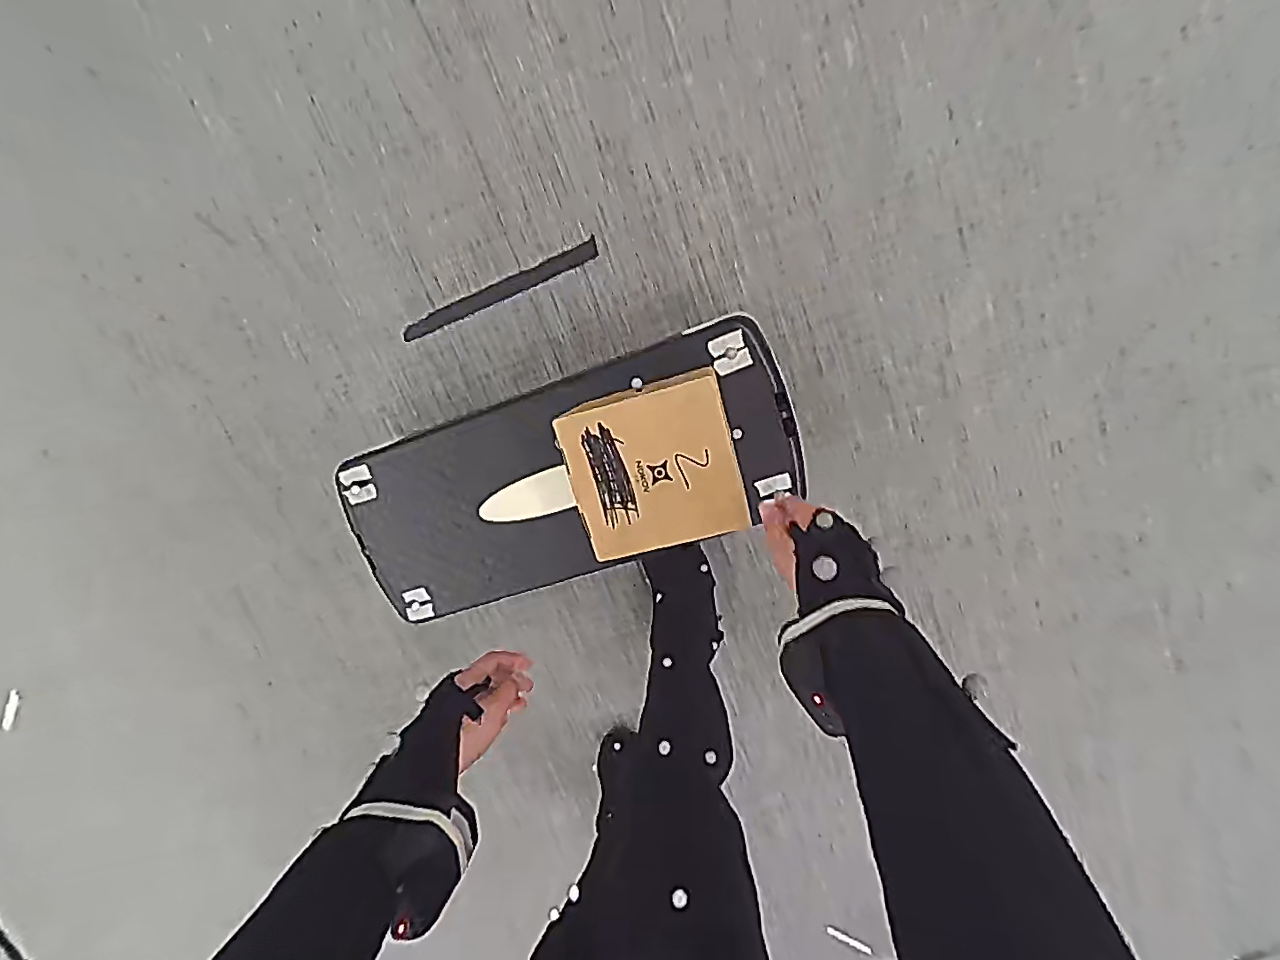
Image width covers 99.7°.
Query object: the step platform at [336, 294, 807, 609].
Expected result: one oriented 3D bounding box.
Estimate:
[{"bbox_3d":[-0.102,-0.034,0.834,0.684,0.204,0.286,-18,101,11],"label":"step platform"}]
